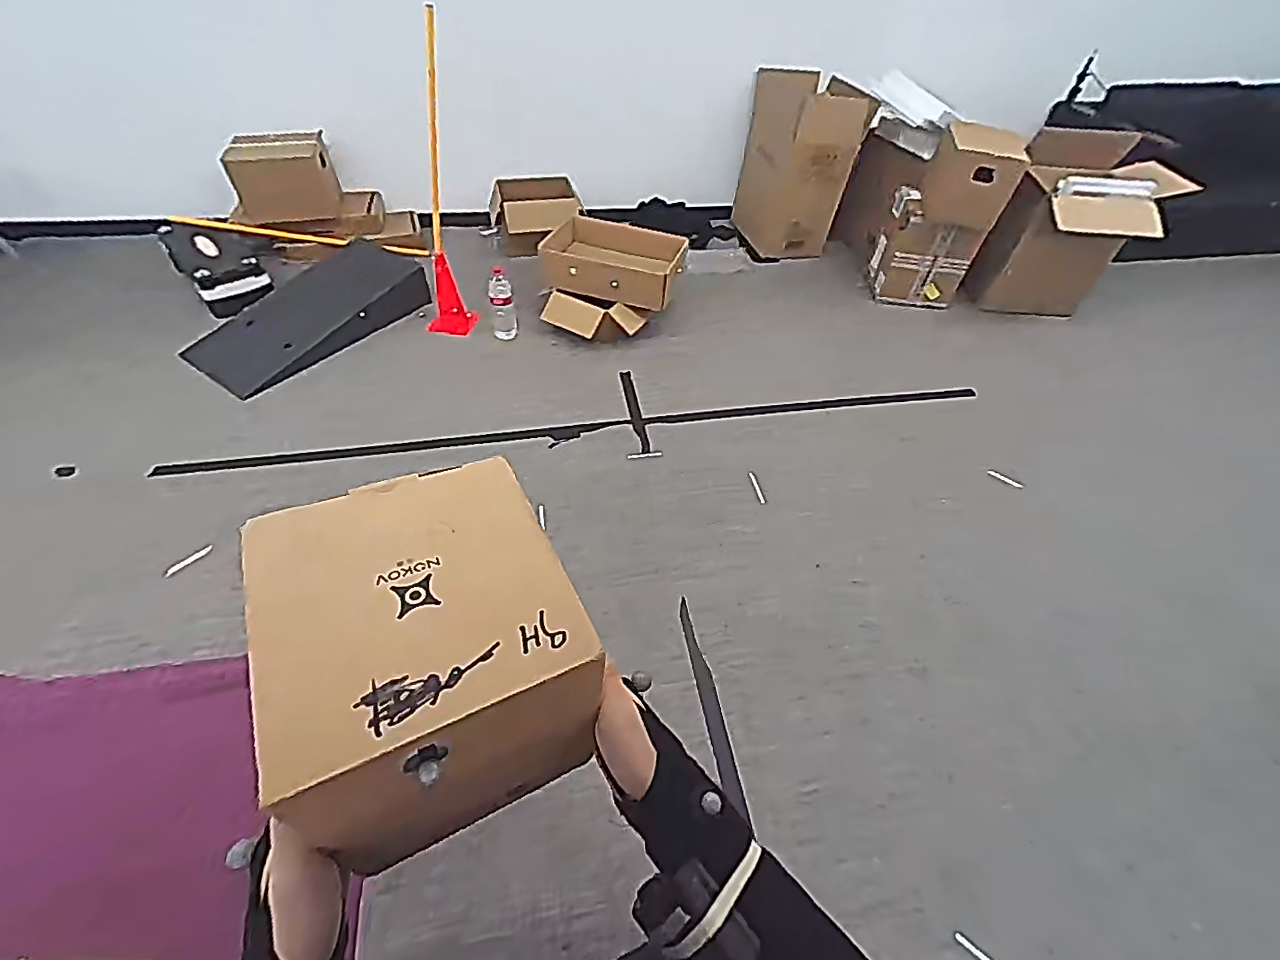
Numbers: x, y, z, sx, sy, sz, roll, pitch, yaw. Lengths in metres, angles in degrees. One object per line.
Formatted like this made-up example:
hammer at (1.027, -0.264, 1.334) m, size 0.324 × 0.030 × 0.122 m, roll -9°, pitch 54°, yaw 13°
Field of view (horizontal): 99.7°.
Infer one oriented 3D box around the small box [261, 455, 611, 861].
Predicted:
small box at (-0.133, 0.115, 0.371) m, size 0.168 × 0.176 × 0.179 m, roll -18°, pitch 49°, yaw -23°
